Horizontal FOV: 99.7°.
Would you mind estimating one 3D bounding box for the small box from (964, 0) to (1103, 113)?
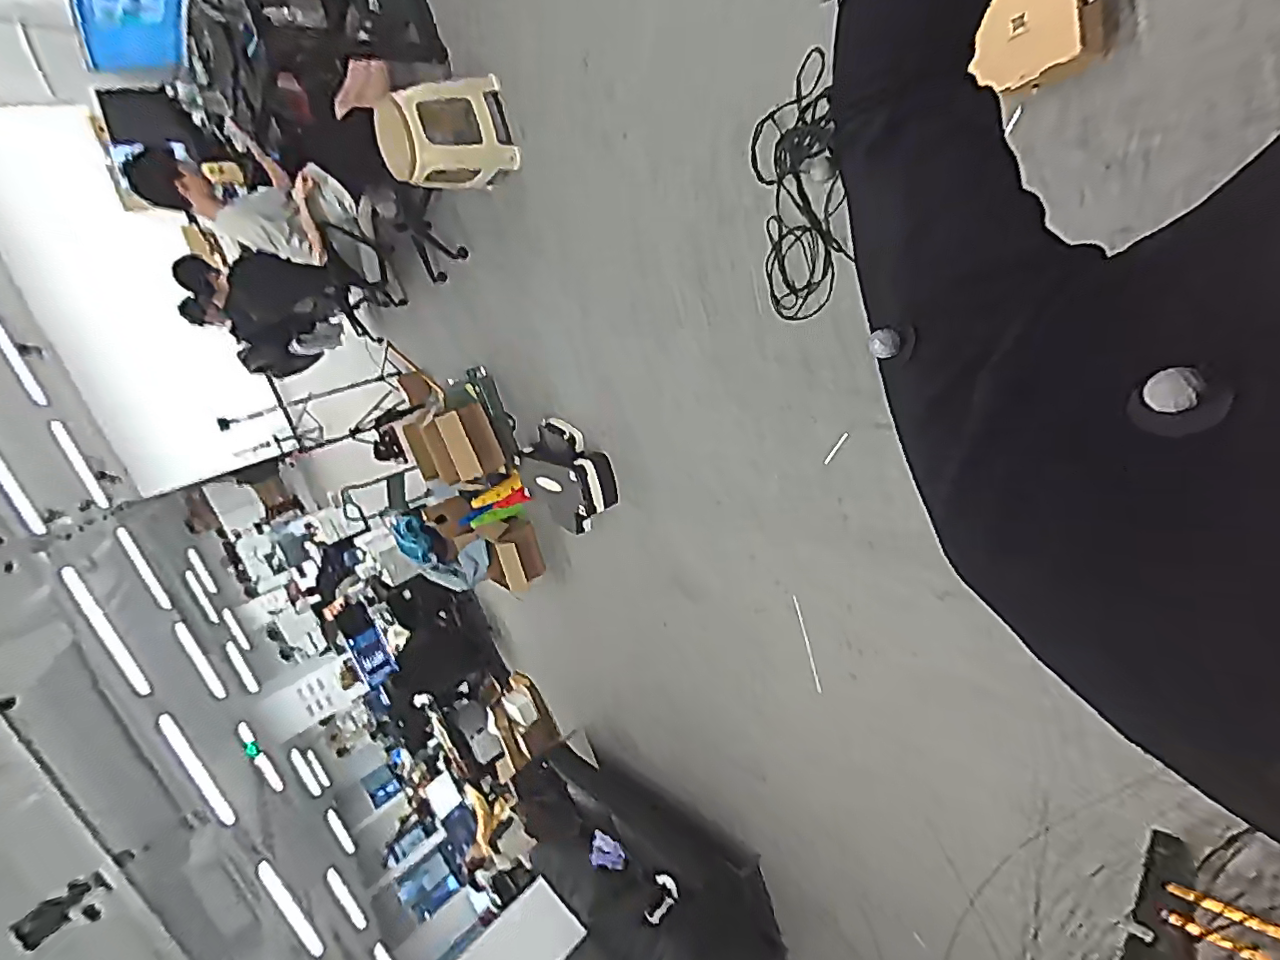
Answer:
[{"bbox_3d":[0.730,-0.811,1.001,0.168,0.176,0.179,1,114,52],"label":"small box"}]
